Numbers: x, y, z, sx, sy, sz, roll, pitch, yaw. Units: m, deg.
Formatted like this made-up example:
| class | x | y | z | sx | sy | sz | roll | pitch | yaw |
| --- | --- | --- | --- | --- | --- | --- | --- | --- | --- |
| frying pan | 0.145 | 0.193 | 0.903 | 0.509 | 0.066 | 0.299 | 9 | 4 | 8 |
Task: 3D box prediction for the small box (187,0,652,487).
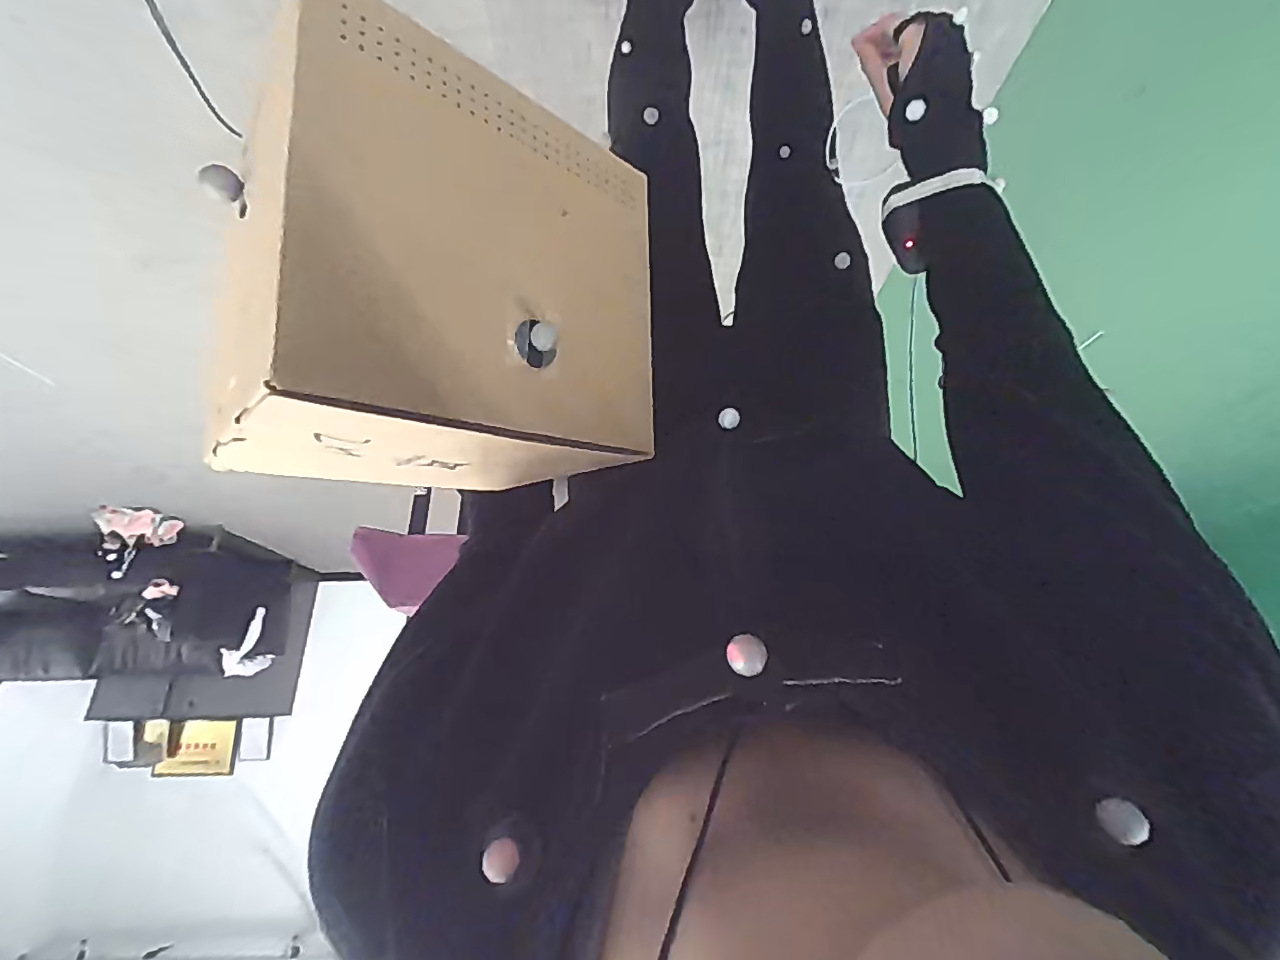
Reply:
| class | x | y | z | sx | sy | sz | roll | pitch | yaw |
| --- | --- | --- | --- | --- | --- | --- | --- | --- | --- |
| small box | -0.110 | -0.094 | 0.287 | 0.179 | 0.176 | 0.168 | 8 | 166 | -44 |
